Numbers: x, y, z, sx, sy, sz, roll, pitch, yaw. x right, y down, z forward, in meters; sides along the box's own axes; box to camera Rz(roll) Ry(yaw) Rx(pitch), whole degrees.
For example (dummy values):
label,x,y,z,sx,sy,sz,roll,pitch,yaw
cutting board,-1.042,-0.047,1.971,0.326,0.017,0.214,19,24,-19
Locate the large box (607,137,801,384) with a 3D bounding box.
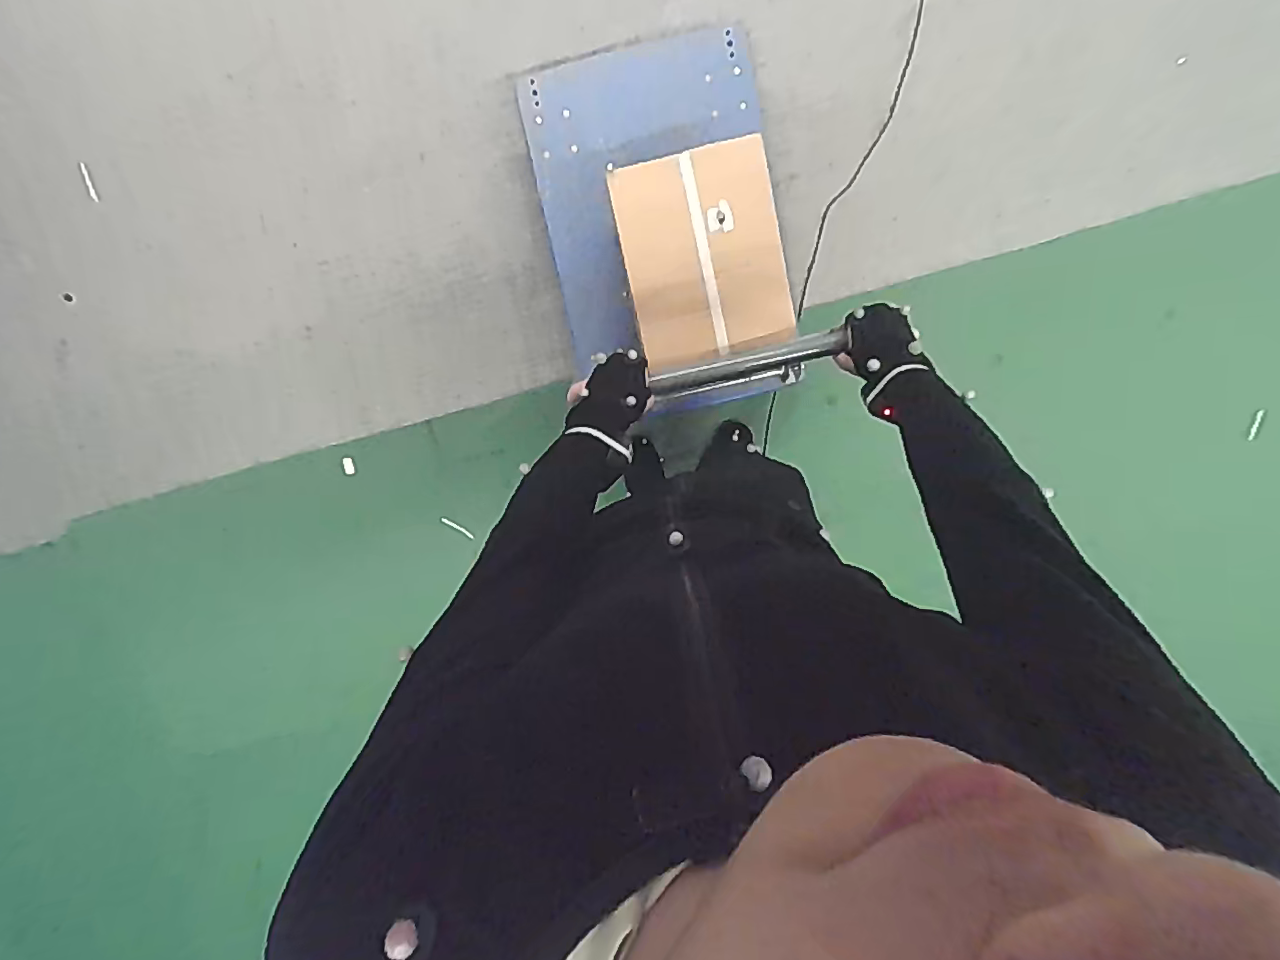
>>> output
label,x,y,z,sx,sy,sz,roll,pitch,yaw
large box,0.133,-0.452,1.213,0.320,0.320,0.408,-13,97,1
